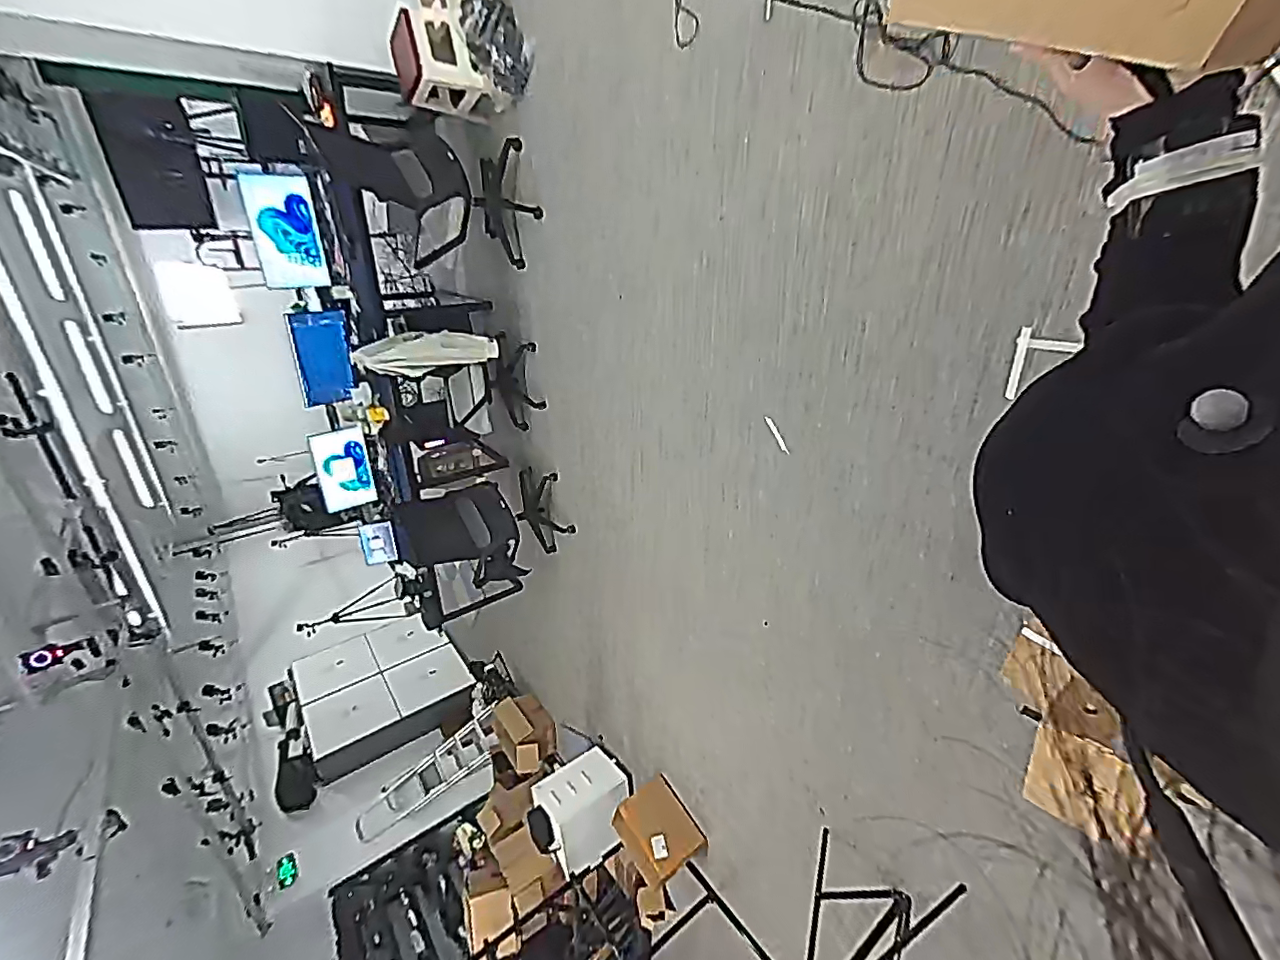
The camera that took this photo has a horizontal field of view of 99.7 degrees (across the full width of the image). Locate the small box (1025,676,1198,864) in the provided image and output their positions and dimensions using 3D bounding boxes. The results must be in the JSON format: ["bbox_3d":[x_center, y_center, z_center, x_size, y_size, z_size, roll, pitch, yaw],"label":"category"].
[{"bbox_3d":[0.772,0.459,0.889,0.168,0.176,0.179,21,122,51],"label":"small box"}]
